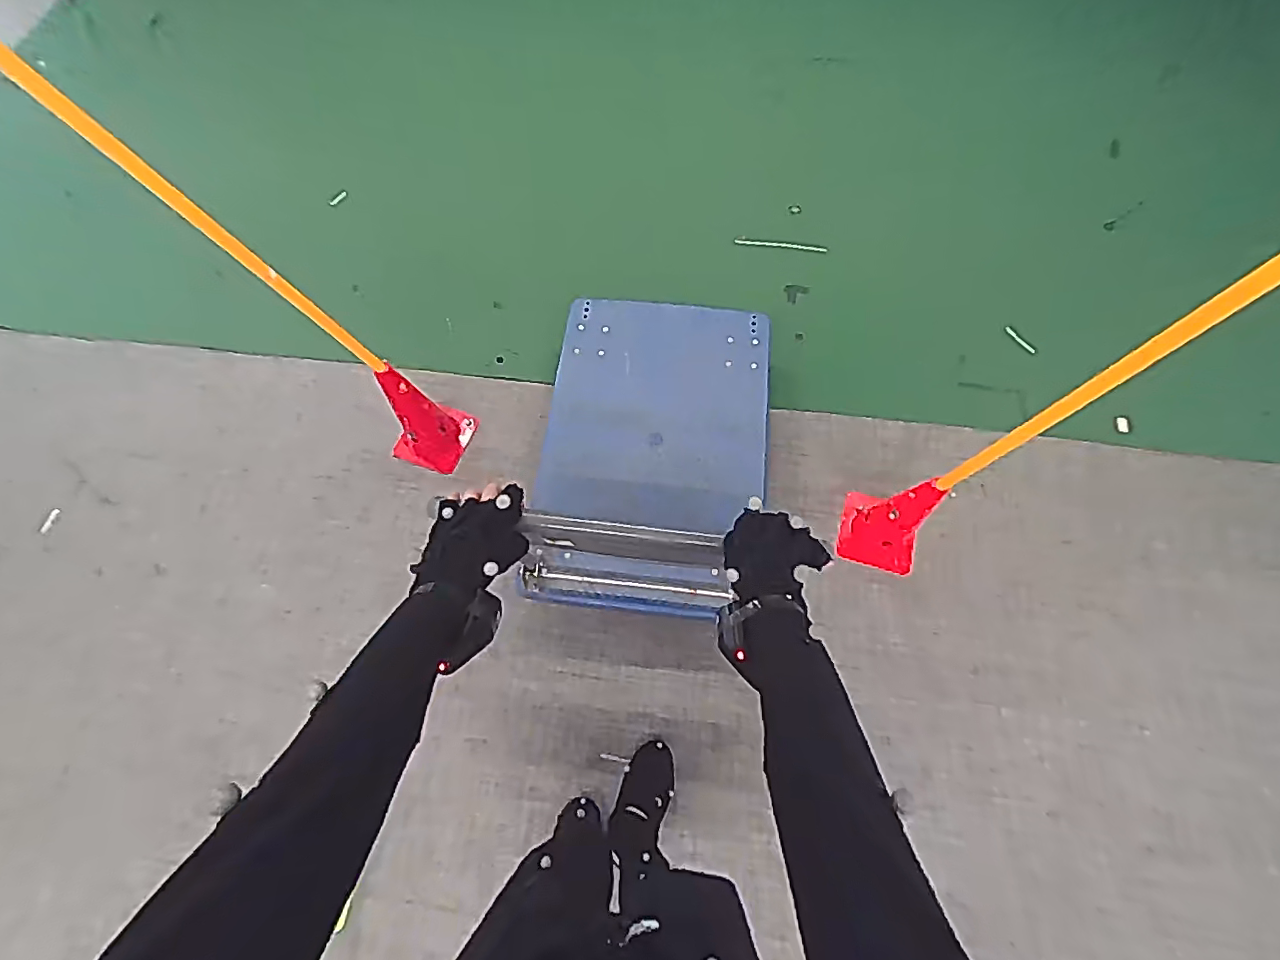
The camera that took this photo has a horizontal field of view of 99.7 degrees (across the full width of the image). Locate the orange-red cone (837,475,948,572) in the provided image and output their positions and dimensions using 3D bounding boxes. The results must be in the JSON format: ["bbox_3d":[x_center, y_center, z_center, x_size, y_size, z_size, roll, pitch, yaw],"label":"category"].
[{"bbox_3d":[0.645,0.073,1.316,0.198,0.360,0.199,17,70,8],"label":"orange-red cone"}]
